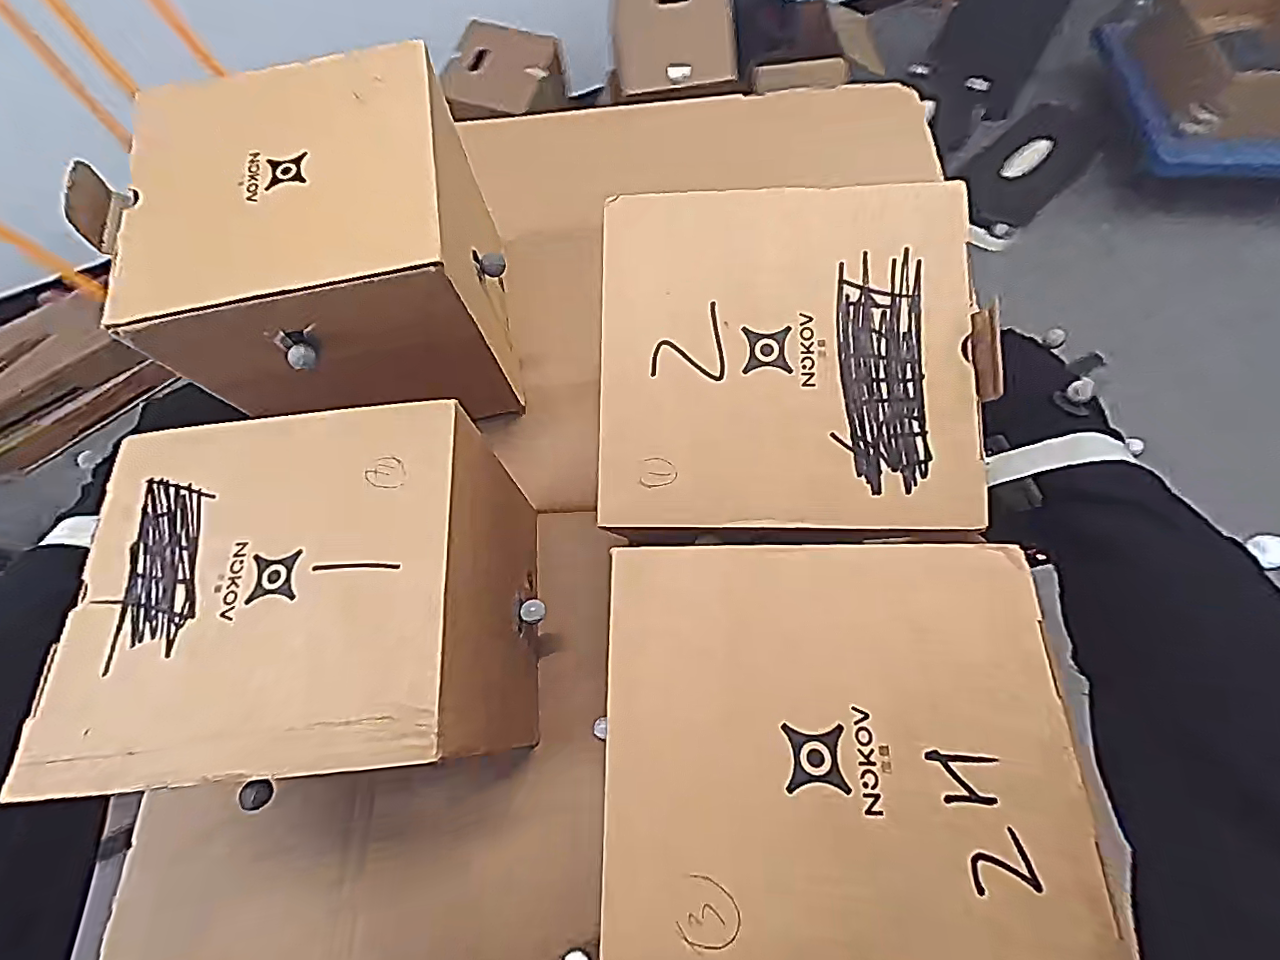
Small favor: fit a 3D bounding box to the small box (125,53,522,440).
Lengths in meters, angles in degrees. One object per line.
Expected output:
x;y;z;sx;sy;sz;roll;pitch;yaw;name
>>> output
-0.188;-0.142;0.379;0.179;0.176;0.168;-10;71;1;small box
